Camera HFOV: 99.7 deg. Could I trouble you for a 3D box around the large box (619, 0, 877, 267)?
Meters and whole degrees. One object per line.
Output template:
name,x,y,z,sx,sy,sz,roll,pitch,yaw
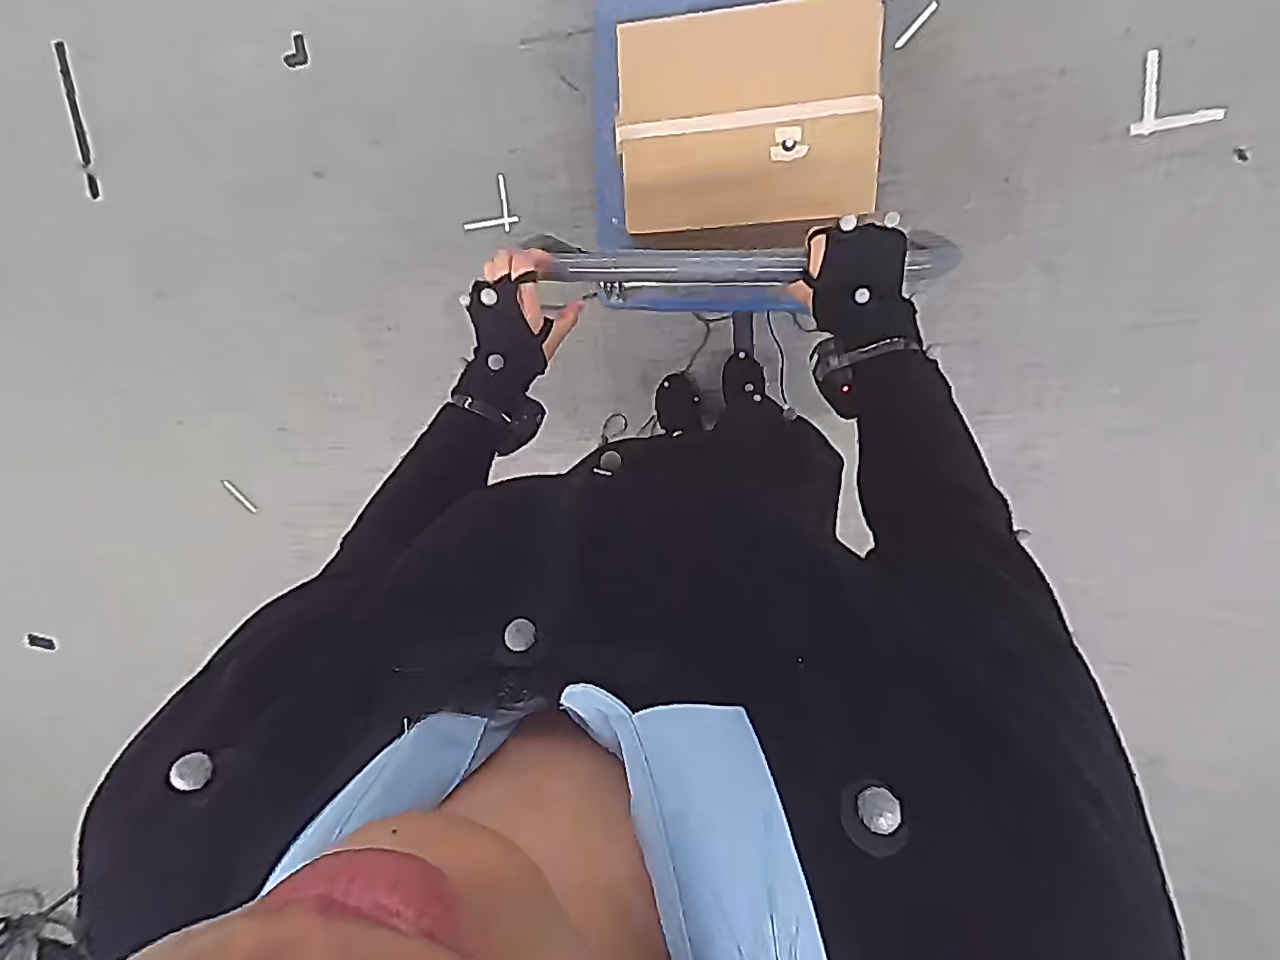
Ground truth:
large box,0.189,-0.605,1.018,0.408,0.320,0.320,-1,103,8
